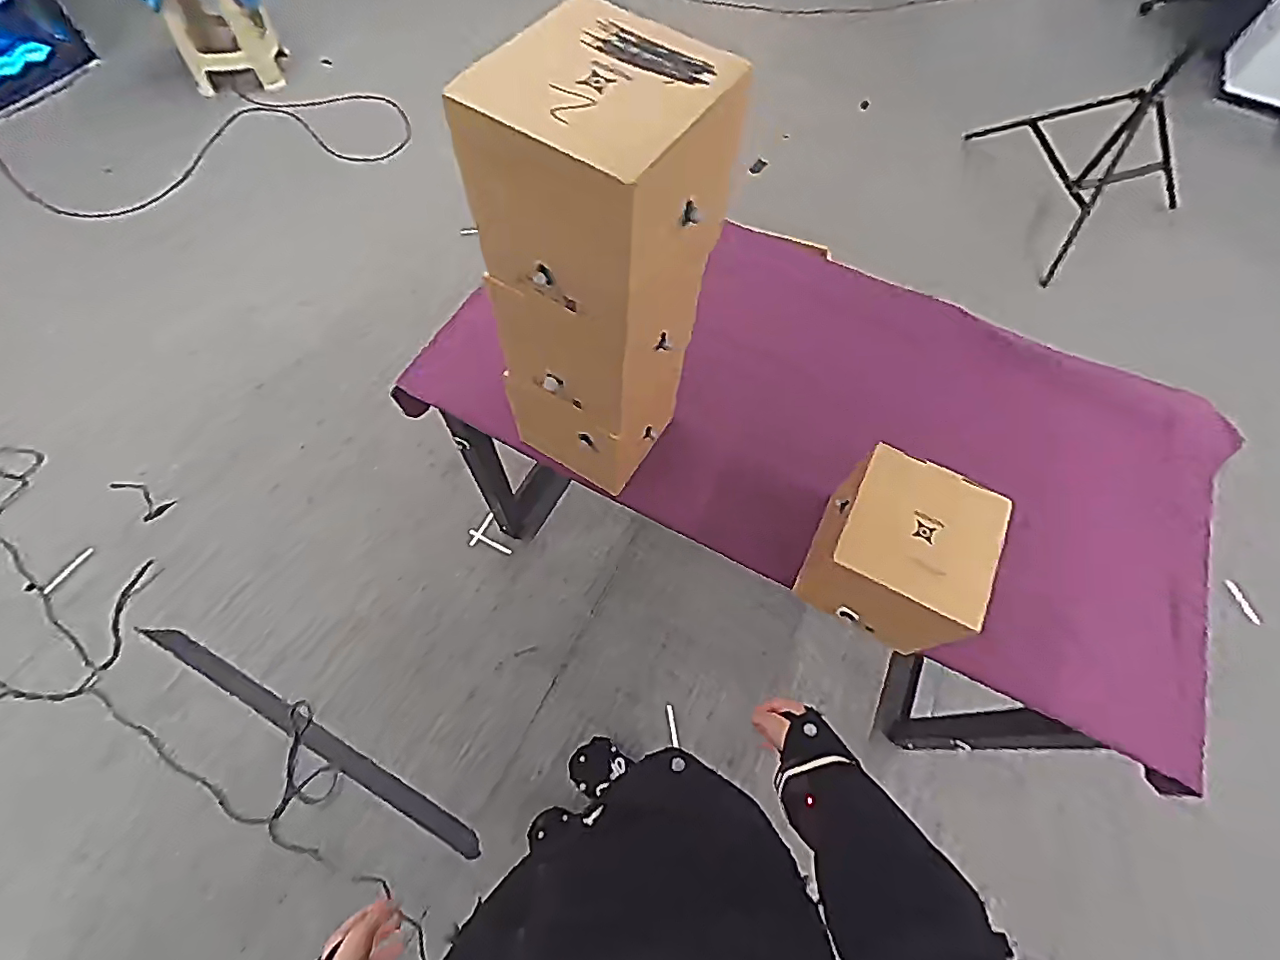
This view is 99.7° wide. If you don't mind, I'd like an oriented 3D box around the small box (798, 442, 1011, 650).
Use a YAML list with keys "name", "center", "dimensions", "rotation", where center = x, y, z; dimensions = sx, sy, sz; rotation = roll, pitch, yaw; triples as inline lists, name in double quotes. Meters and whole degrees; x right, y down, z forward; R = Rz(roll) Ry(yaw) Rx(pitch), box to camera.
- name: "small box"
  center: [0.319, 0.089, 0.680]
  dimensions: [0.168, 0.176, 0.179]
  rotation: [26, 67, 11]

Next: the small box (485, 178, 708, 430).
- name: "small box"
  center: [-0.045, -0.192, 0.615]
  dimensions: [0.168, 0.176, 0.179]
  rotation: [29, 67, 11]

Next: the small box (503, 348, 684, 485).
- name: "small box"
  center: [-0.060, -0.114, 0.759]
  dimensions: [0.179, 0.176, 0.168]
  rotation: [30, 66, 12]
